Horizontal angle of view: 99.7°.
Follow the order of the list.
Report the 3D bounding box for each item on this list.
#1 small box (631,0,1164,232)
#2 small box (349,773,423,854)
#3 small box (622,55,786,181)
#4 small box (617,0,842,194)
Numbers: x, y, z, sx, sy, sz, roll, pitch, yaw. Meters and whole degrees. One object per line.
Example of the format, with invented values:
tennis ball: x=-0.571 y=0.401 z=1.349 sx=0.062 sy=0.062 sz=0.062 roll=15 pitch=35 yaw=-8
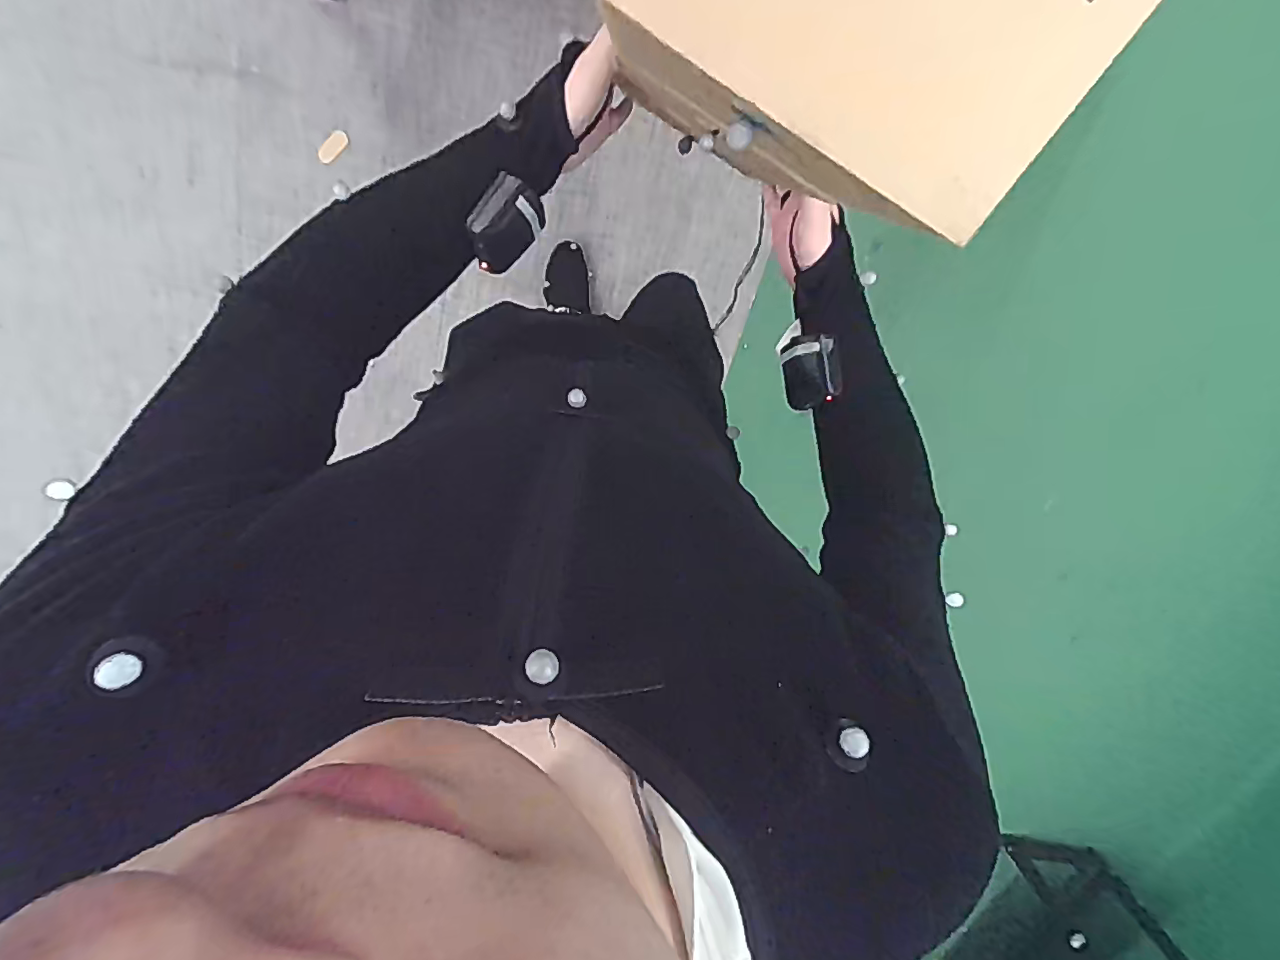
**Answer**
small box: x=0.104 y=-0.240 z=0.237 sx=0.179 sy=0.176 sz=0.168 roll=24 pitch=121 yaw=-15
small box: x=-0.866 y=1.138 z=1.855 sx=0.179 sy=0.176 sz=0.168 roll=14 pitch=111 yaw=-12
small box: x=0.096 y=-0.417 z=0.512 sx=0.179 sy=0.176 sz=0.168 roll=24 pitch=119 yaw=-15
small box: x=0.099 y=-0.329 z=0.374 sx=0.179 sy=0.176 sz=0.168 roll=25 pitch=120 yaw=-16
